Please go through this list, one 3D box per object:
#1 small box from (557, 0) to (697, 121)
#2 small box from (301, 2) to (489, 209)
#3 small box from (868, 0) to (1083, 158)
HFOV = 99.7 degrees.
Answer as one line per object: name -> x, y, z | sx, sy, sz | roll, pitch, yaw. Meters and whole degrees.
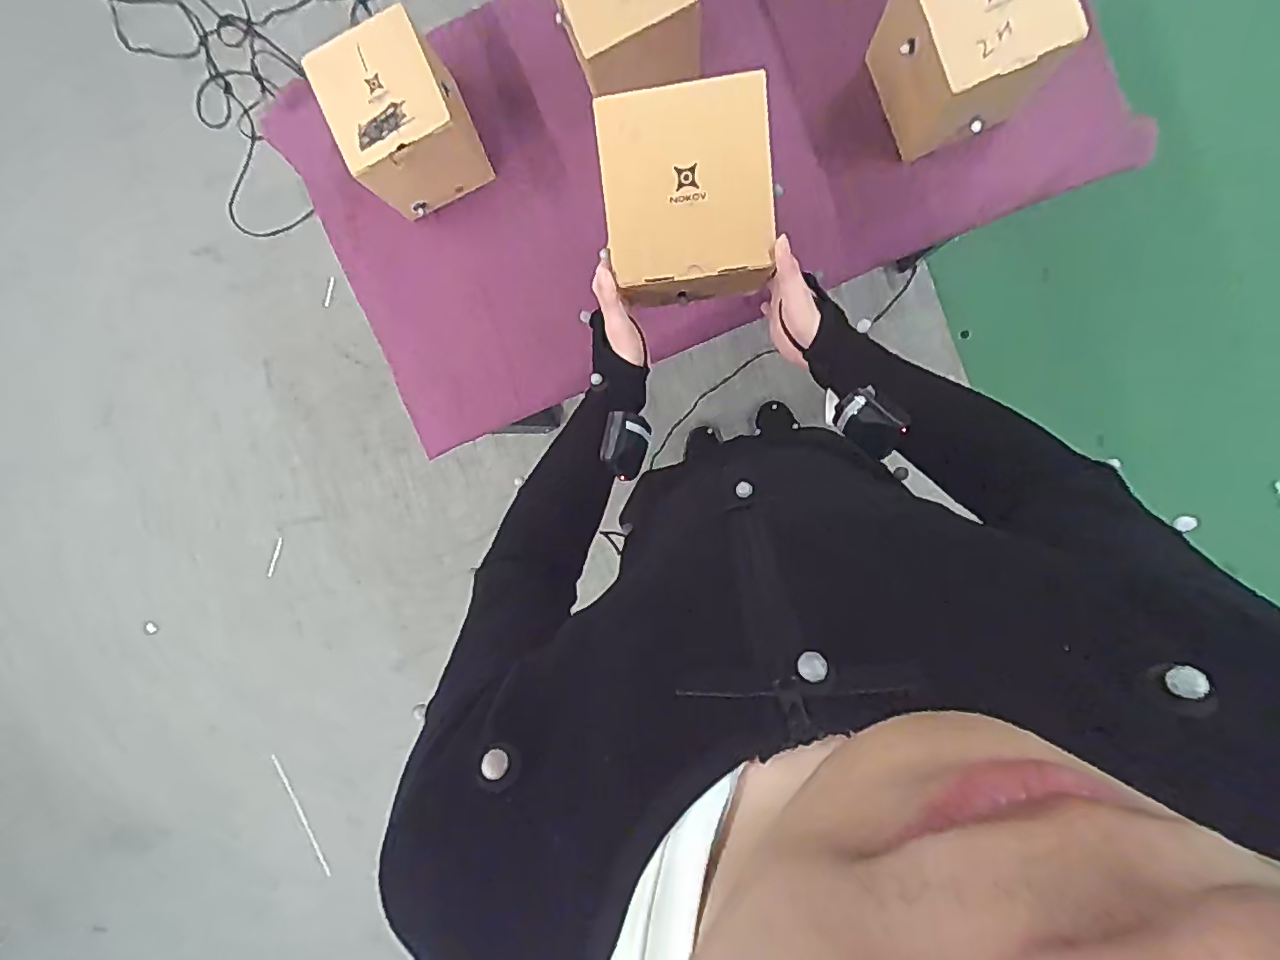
small box -> -0.024, -0.673, 0.778 | 0.168, 0.176, 0.179 | -21, 93, 8
small box -> -0.356, -0.543, 0.820 | 0.168, 0.176, 0.179 | -23, 92, 7
small box -> 0.435, -0.589, 0.734 | 0.168, 0.176, 0.179 | -20, 91, 8
